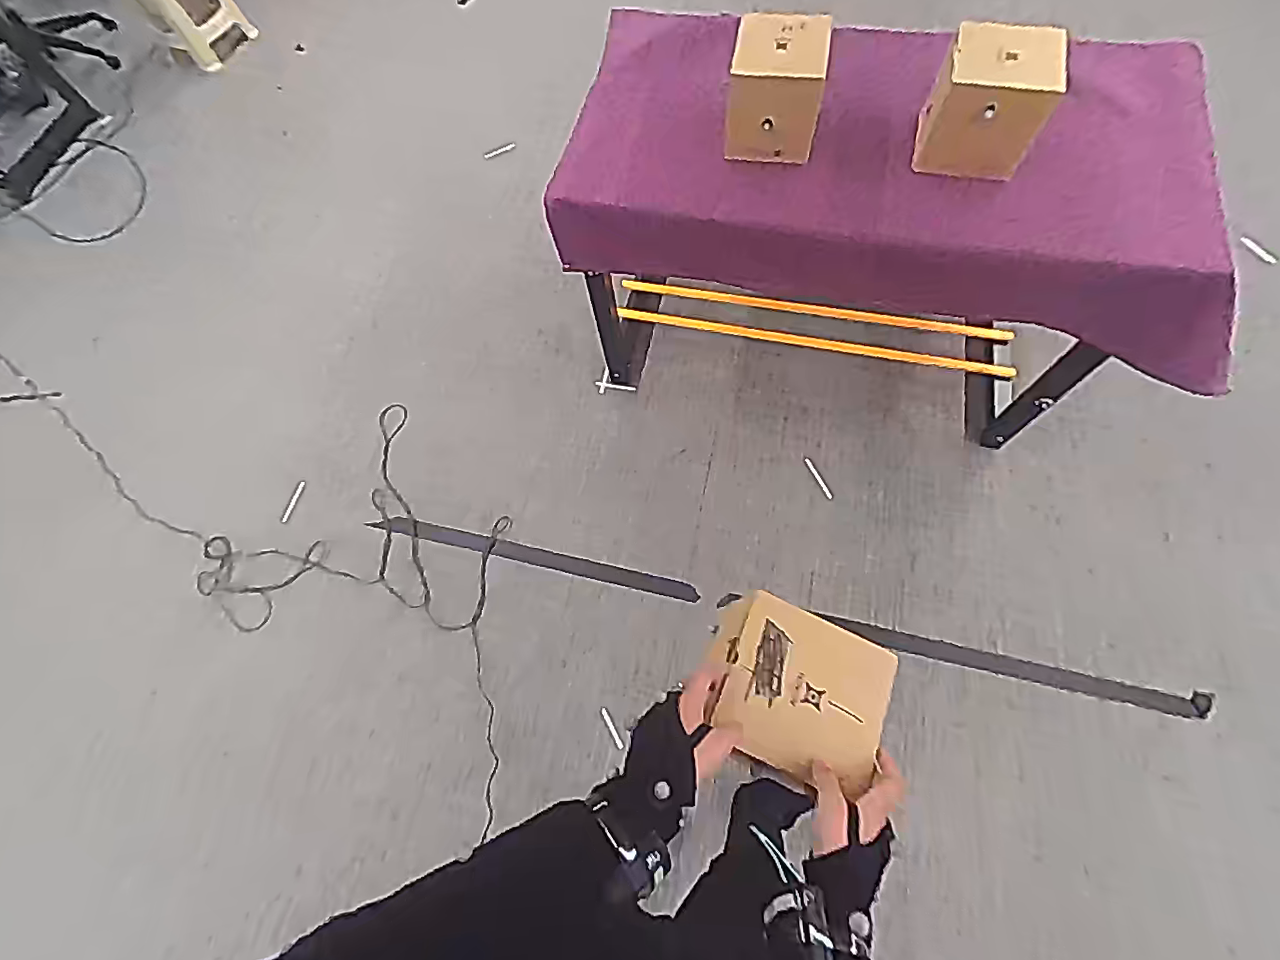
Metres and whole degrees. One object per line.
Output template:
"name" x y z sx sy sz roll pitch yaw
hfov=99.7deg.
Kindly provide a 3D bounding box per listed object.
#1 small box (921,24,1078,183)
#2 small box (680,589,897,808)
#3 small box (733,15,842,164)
"small box" 0.638 -0.669 0.973 0.179 0.176 0.168 14 70 11
"small box" 0.164 0.256 0.641 0.179 0.176 0.168 25 65 3
"small box" 0.274 -0.738 1.032 0.168 0.176 0.179 10 69 9
